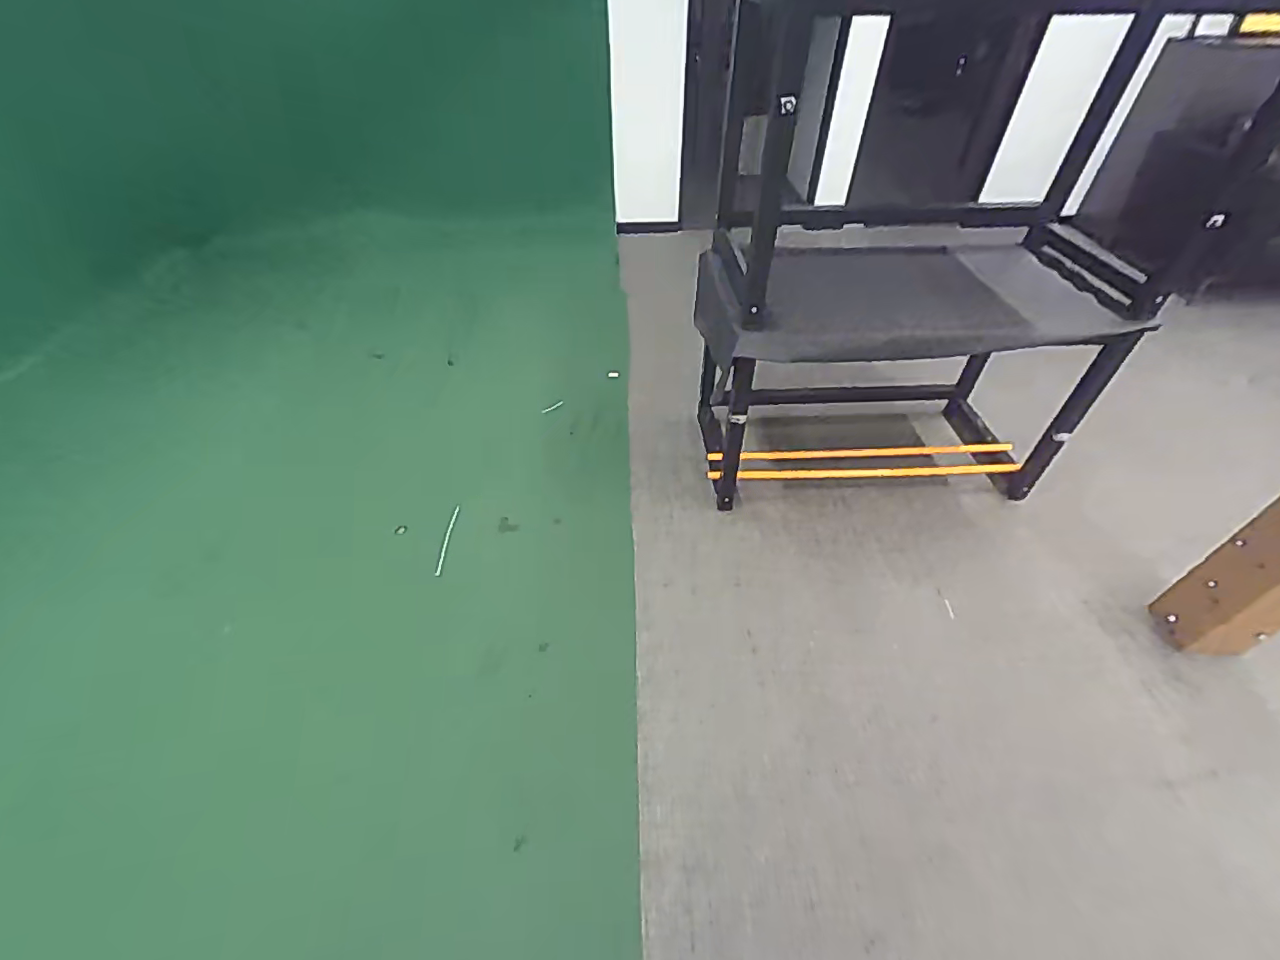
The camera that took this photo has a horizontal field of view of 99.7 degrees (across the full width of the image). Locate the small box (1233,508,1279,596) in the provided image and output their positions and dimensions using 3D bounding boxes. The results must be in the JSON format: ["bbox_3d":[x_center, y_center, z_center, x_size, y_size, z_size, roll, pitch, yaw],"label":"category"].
[{"bbox_3d":[1.686,0.186,1.370,0.179,0.176,0.168,1,45,1],"label":"small box"}]

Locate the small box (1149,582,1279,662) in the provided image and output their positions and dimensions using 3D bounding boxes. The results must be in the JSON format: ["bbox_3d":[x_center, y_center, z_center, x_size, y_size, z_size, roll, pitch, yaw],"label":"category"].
[{"bbox_3d":[1.685,0.422,1.595,0.179,0.176,0.168,2,44,3],"label":"small box"}]
